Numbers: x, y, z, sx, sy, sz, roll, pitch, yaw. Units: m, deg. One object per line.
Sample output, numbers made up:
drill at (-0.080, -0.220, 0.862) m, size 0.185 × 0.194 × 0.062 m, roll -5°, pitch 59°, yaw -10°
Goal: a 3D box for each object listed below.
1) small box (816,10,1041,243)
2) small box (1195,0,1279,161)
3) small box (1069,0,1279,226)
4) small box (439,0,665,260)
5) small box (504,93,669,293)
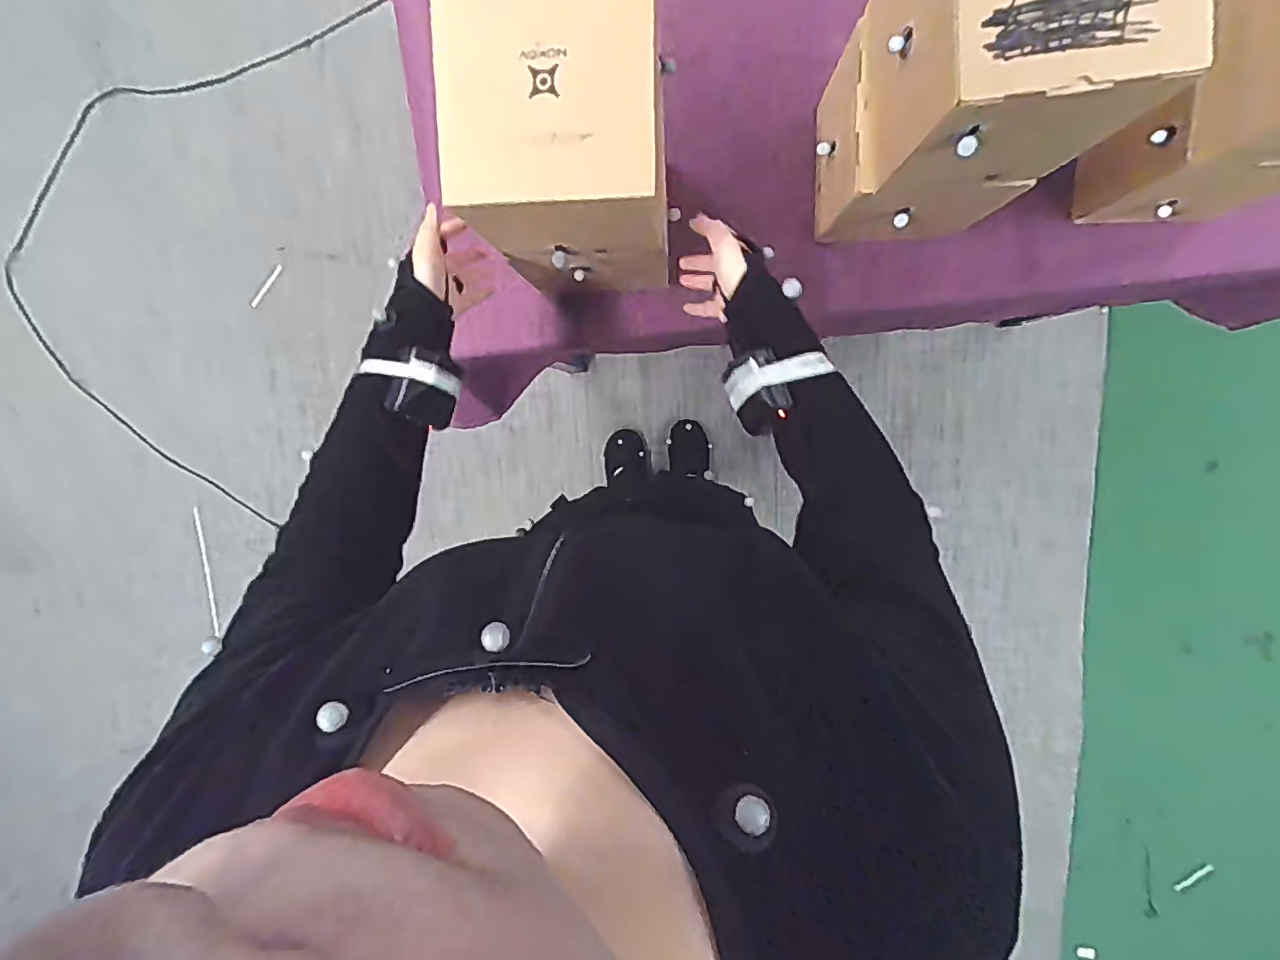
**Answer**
small box at (0.306, -0.379, 0.613) m, size 0.179 × 0.176 × 0.168 m, roll 0°, pitch 97°, yaw 4°
small box at (0.606, -0.375, 0.428) m, size 0.168 × 0.176 × 0.179 m, roll -1°, pitch 97°, yaw 3°
small box at (0.616, -0.397, 0.591) m, size 0.168 × 0.176 × 0.179 m, roll 1°, pitch 98°, yaw 4°
small box at (-0.063, -0.309, 0.481) m, size 0.168 × 0.176 × 0.179 m, roll 0°, pitch 98°, yaw 4°
small box at (-0.055, -0.325, 0.644) m, size 0.179 × 0.176 × 0.168 m, roll -1°, pitch 98°, yaw 3°
